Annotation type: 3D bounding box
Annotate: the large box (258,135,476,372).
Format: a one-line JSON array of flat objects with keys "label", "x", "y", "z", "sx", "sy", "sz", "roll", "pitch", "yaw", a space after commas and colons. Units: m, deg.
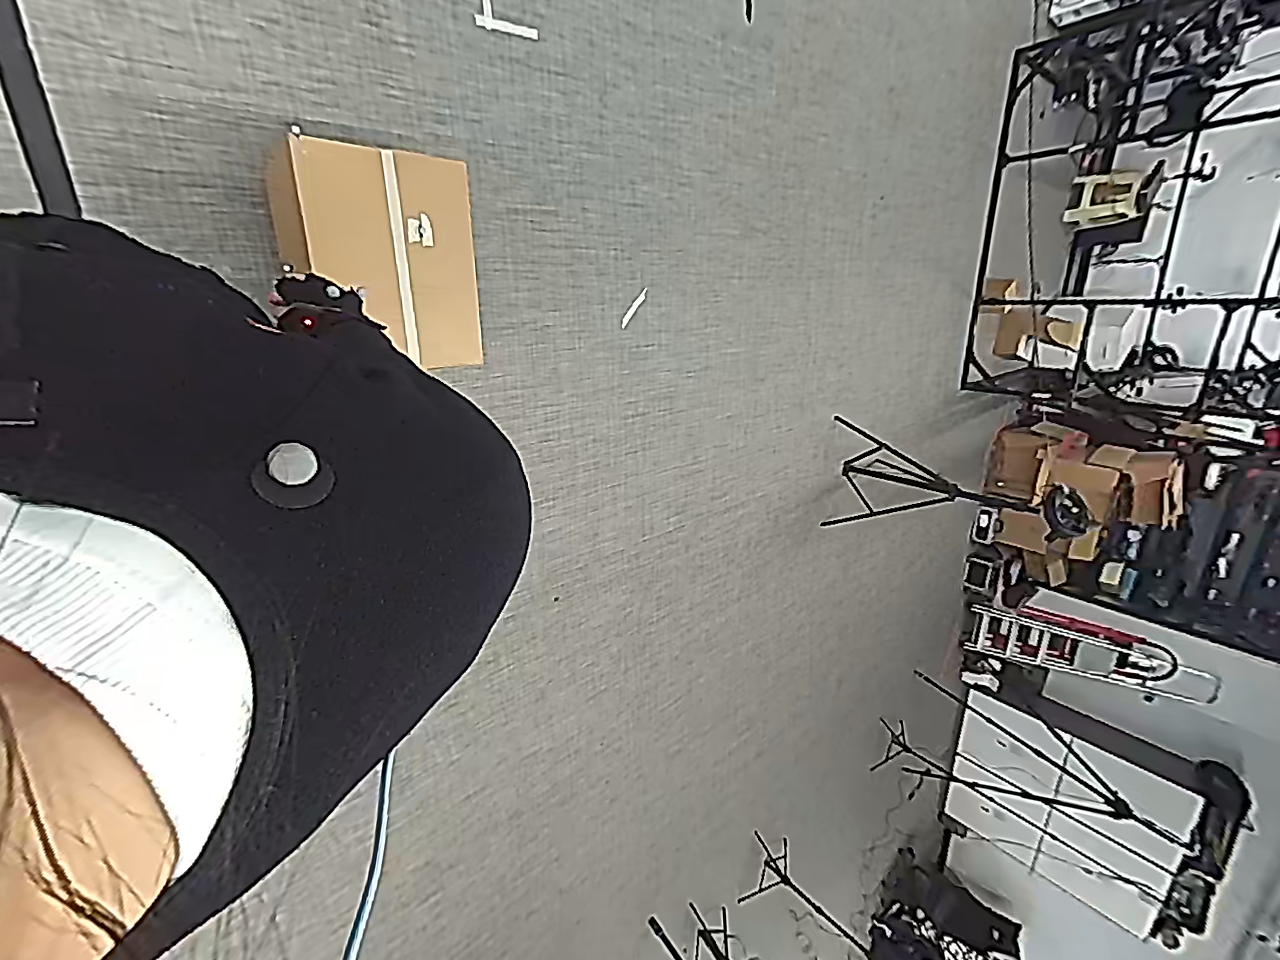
[{"label": "large box", "x": -0.587, "y": -0.458, "z": 1.176, "sx": 0.320, "sy": 0.320, "sz": 0.408, "roll": -16, "pitch": 112, "yaw": -40}]
